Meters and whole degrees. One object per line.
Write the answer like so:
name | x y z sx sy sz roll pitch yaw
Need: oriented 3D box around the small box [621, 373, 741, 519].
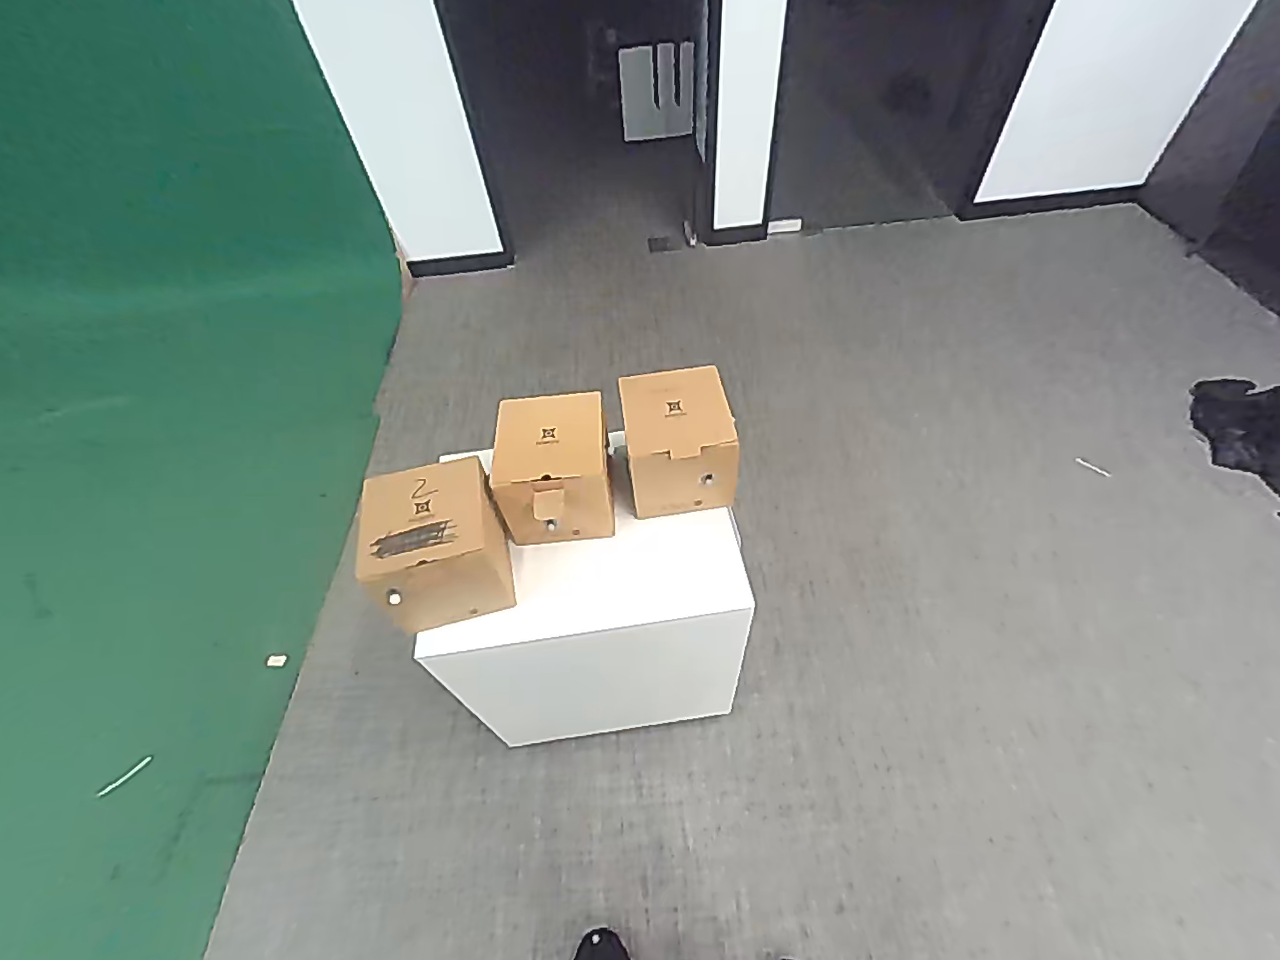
small box | 0.065 -0.049 0.897 0.168 0.176 0.179 -8 51 -2
